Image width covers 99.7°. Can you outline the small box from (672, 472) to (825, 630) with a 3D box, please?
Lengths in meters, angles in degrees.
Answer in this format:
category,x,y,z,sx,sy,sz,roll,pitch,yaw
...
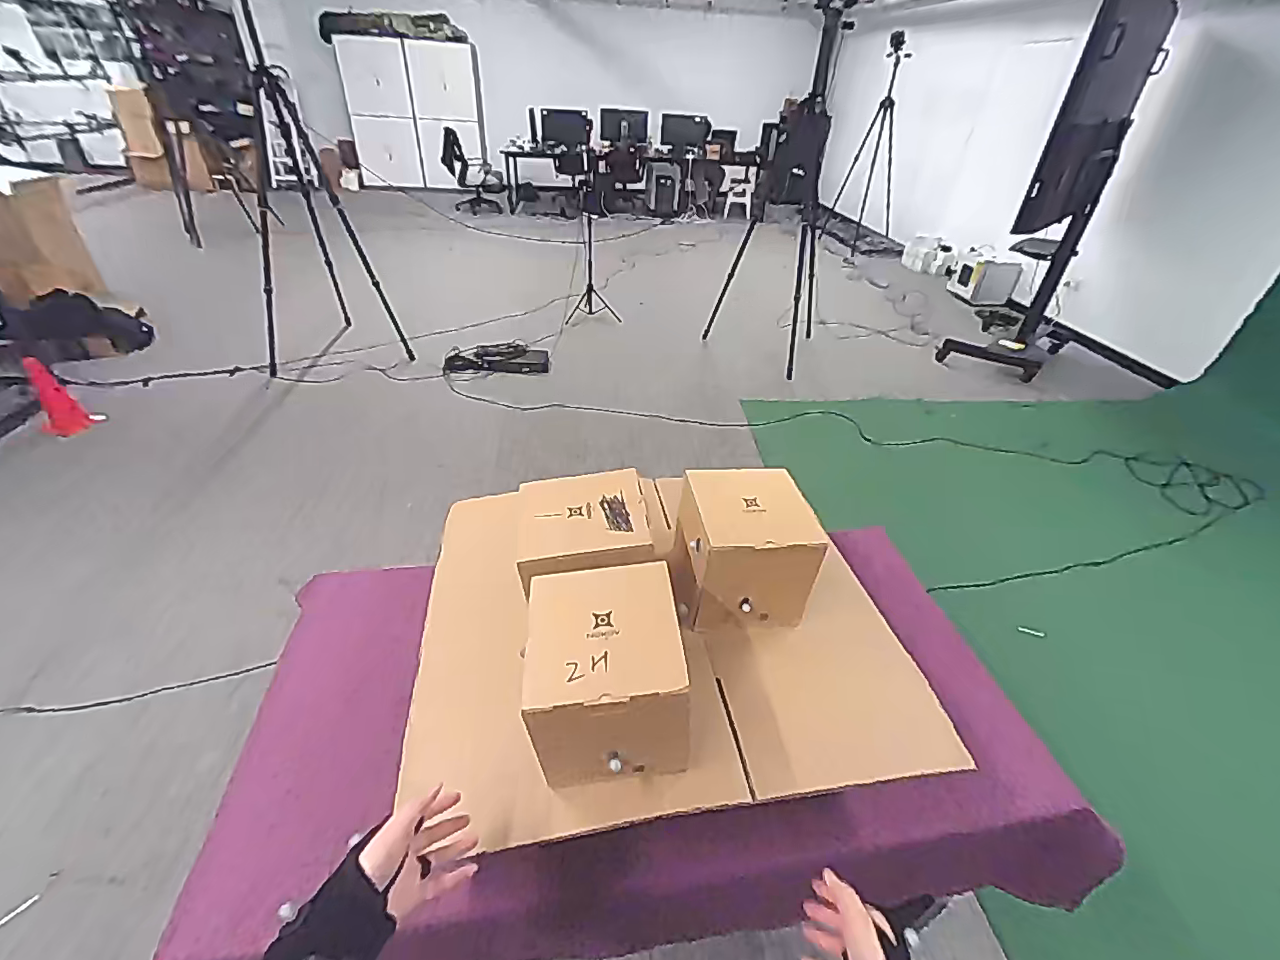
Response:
category,x,y,z,sx,sy,sz,roll,pitch,yaw
small box,0.150,0.105,0.822,0.168,0.176,0.179,-1,37,-9
